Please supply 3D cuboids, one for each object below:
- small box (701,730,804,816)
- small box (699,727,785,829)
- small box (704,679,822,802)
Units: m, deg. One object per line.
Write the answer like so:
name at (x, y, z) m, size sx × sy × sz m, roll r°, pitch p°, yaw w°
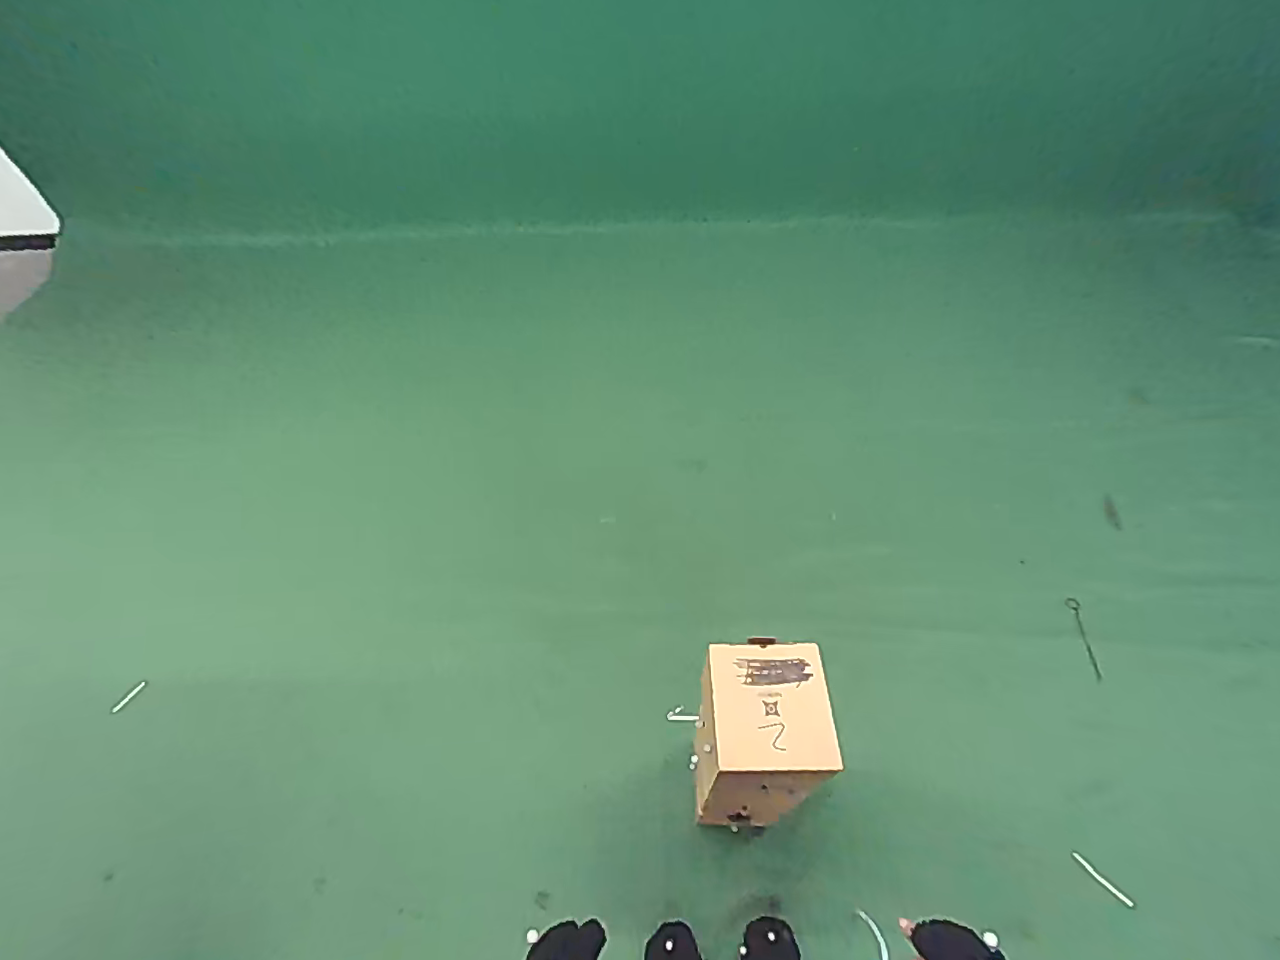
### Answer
small box at (0.217, 0.563, 1.081) m, size 0.179 × 0.176 × 0.168 m, roll 2°, pitch 51°, yaw 5°
small box at (0.219, 0.667, 1.211) m, size 0.168 × 0.176 × 0.179 m, roll -1°, pitch 52°, yaw 4°
small box at (0.205, 0.463, 0.956) m, size 0.179 × 0.176 × 0.168 m, roll -1°, pitch 52°, yaw 2°
